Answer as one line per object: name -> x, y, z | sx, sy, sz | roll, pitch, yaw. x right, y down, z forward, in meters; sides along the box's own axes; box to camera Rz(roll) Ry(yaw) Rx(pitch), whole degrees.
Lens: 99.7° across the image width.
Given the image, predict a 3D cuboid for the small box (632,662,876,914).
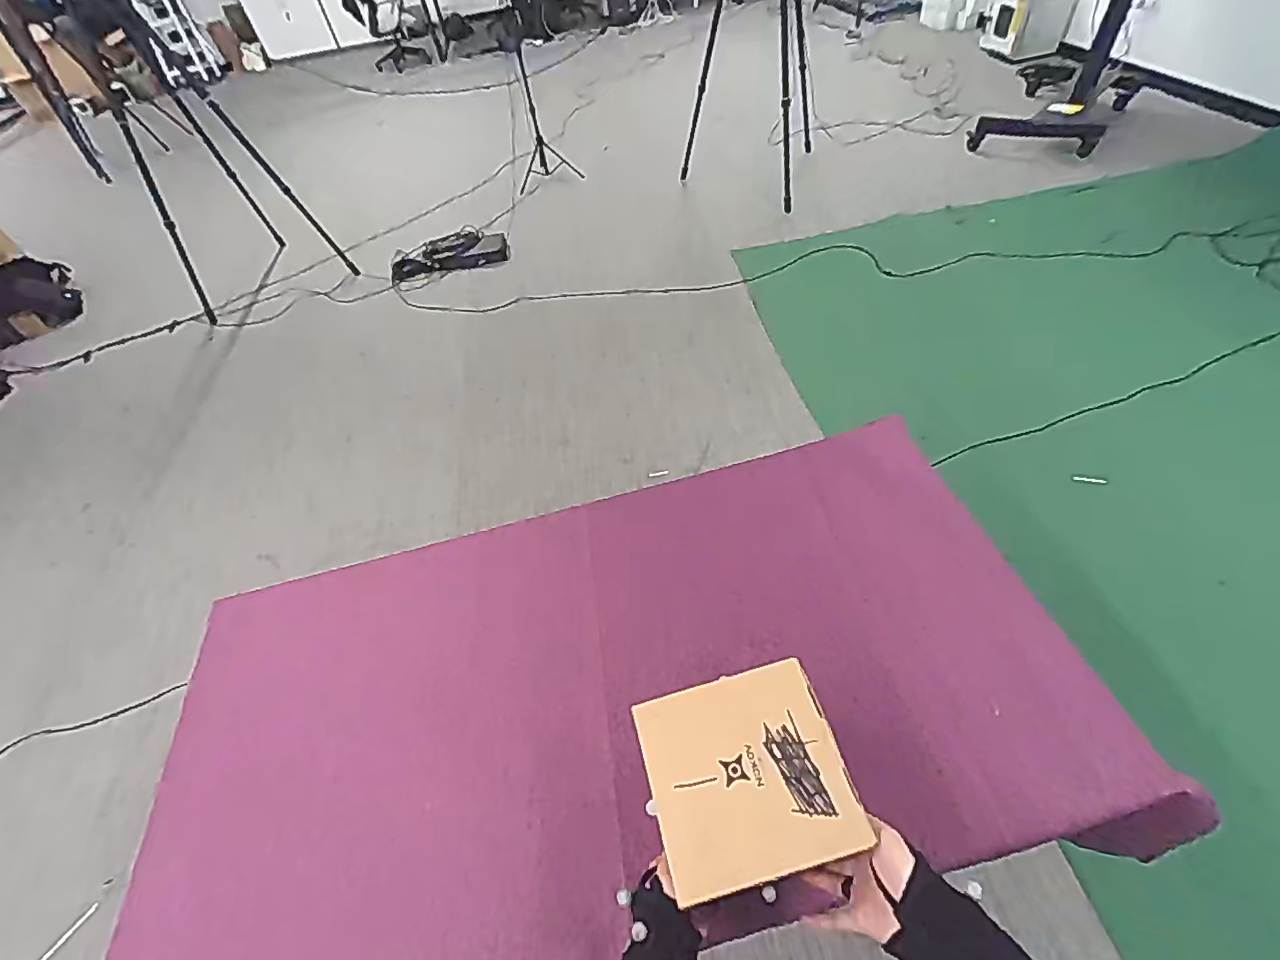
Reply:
small box -> 0.103, 0.310, 0.550 | 0.179, 0.176, 0.168 | -17, 53, -2
